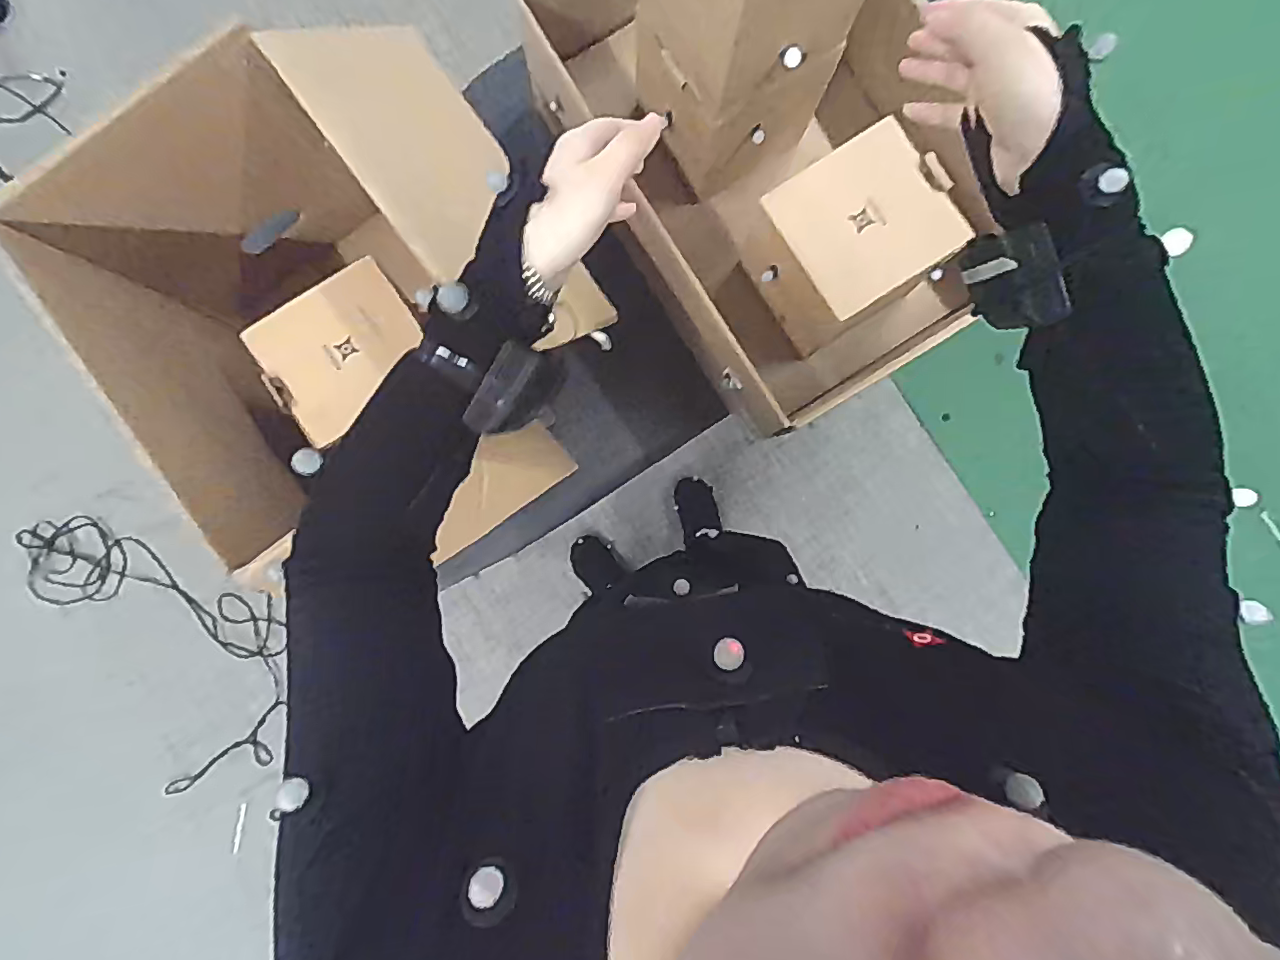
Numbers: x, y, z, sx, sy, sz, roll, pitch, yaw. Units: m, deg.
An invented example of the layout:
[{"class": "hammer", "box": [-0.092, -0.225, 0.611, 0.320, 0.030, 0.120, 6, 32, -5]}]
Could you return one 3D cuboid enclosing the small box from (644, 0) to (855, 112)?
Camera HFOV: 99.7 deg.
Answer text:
[{"class": "small box", "box": [0.104, -0.509, 0.511, 0.168, 0.176, 0.179, -31, 91, -1]}]
